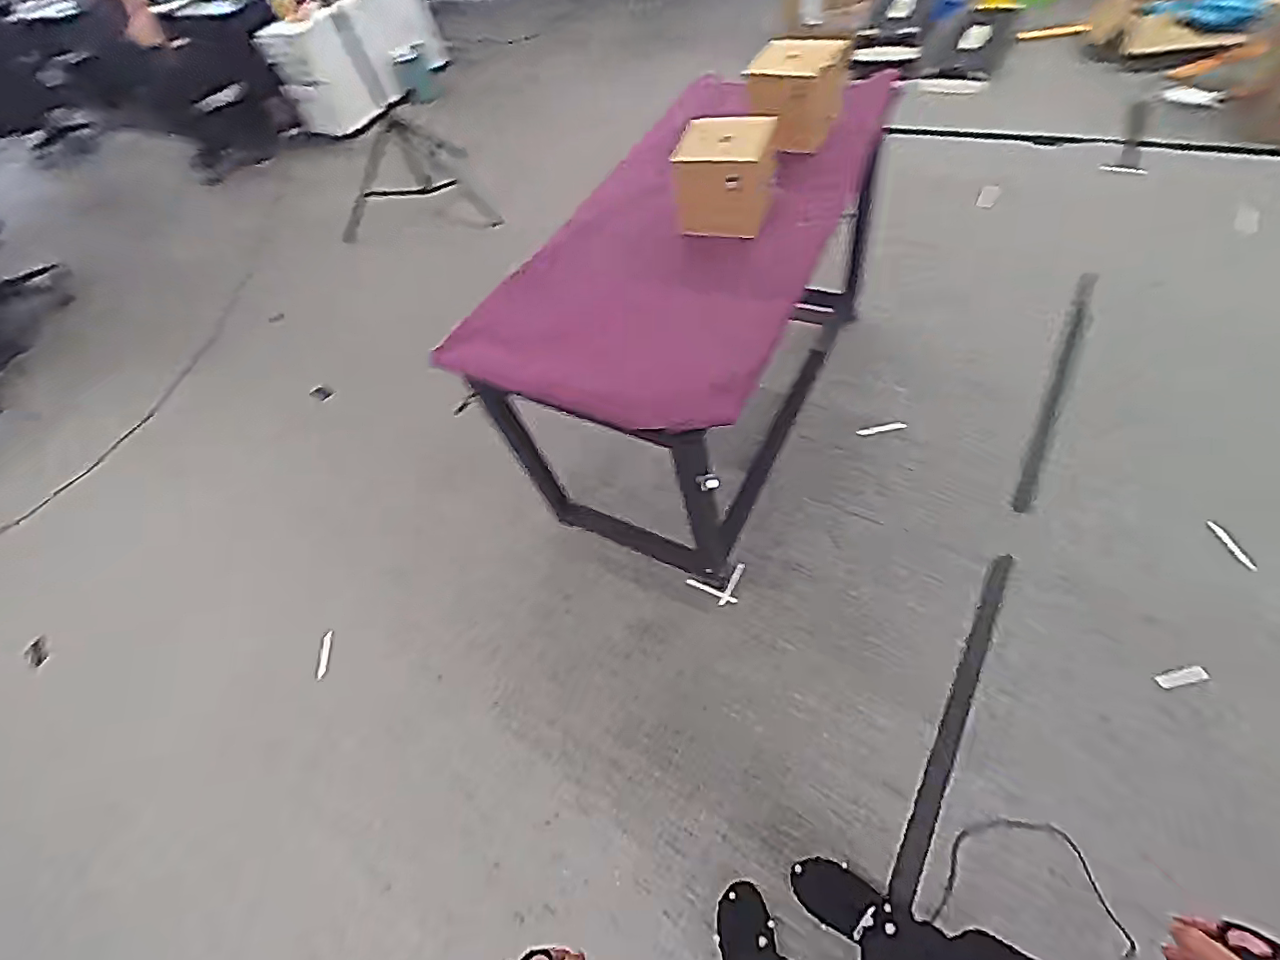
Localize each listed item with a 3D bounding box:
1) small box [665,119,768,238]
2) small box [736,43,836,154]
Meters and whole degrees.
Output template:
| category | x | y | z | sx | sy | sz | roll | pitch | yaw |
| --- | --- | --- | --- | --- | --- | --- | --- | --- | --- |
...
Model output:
| category | x | y | z | sx | sy | sz | roll | pitch | yaw |
| --- | --- | --- | --- | --- | --- | --- | --- | --- | --- |
| small box | 0.172 | -0.648 | 1.172 | 0.179 | 0.176 | 0.168 | 12 | 61 | 20 |
| small box | 0.350 | -0.915 | 1.301 | 0.179 | 0.176 | 0.168 | 24 | 67 | 27 |
